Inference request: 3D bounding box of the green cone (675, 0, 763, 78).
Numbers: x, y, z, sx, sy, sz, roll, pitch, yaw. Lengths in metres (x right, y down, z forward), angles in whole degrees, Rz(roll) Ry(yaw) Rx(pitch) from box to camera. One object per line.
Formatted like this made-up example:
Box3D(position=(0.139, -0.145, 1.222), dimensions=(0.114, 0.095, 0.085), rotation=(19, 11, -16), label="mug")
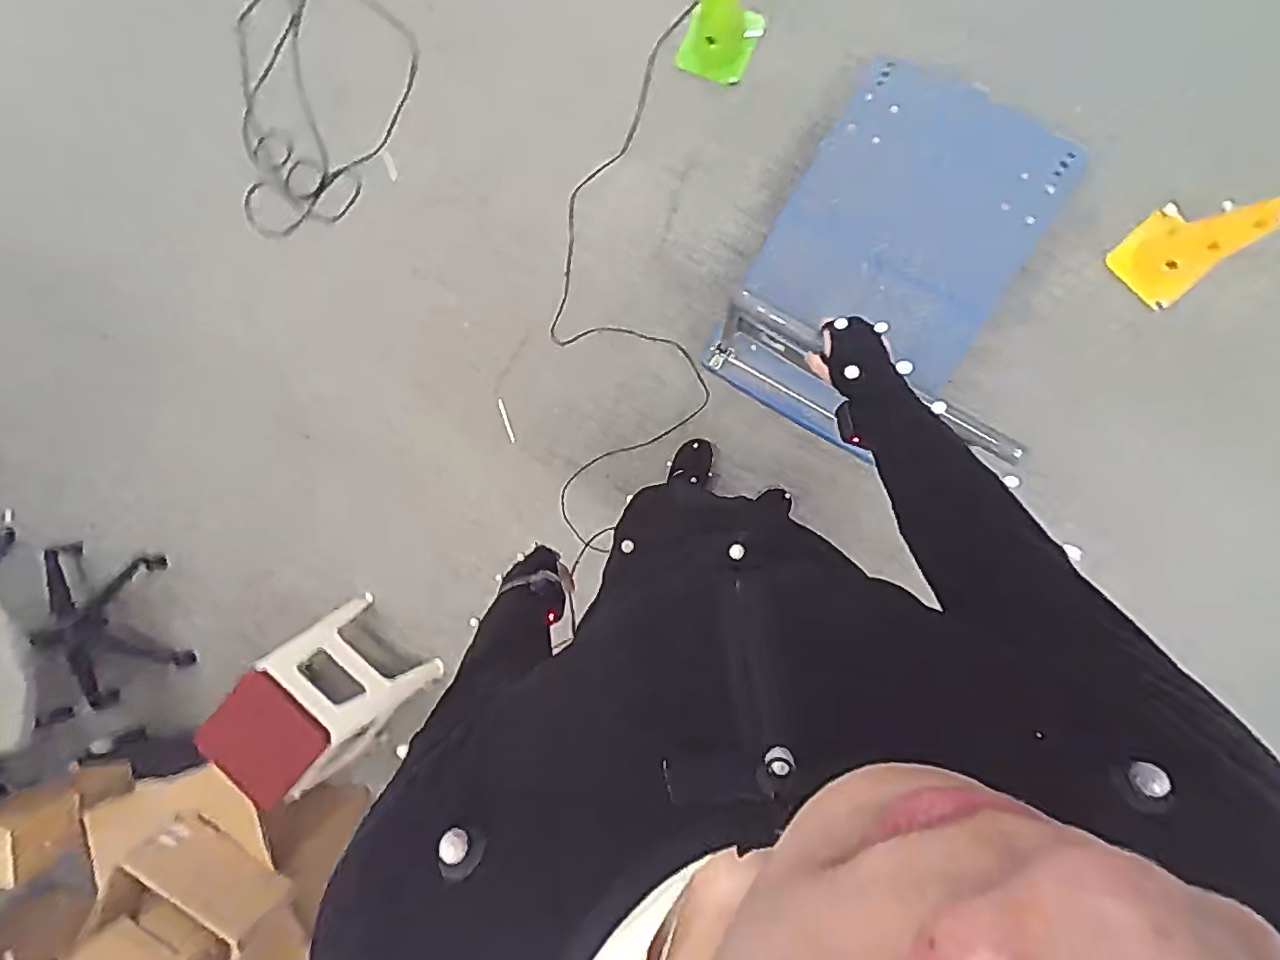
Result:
Box3D(position=(0.190, -1.241, 1.349), dimensions=(0.202, 0.368, 0.200), rotation=(25, 97, 8), label="green cone")
